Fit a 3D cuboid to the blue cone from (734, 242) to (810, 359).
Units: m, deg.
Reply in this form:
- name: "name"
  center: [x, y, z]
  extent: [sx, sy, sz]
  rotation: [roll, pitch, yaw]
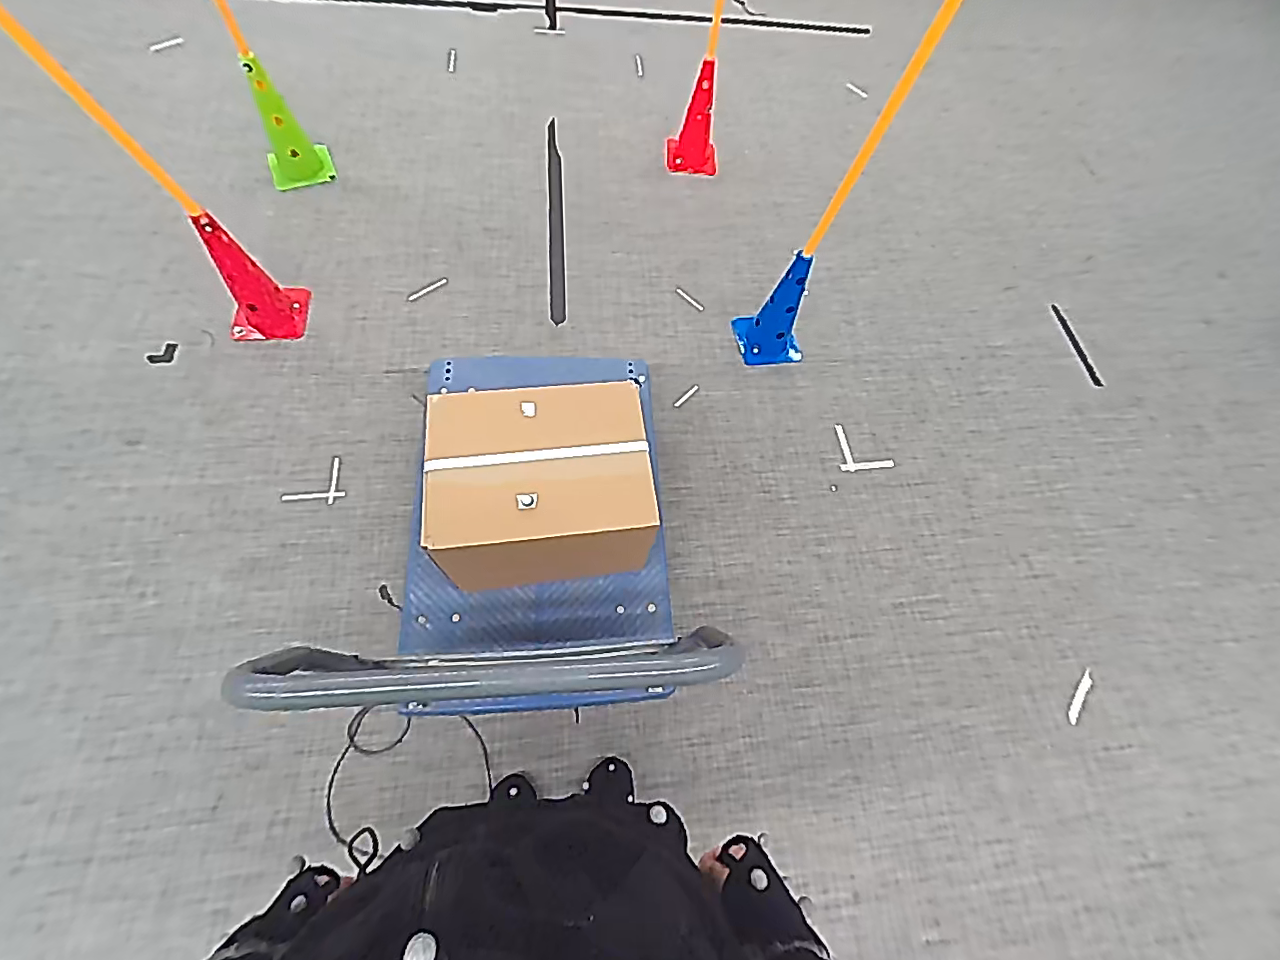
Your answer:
- name: "blue cone"
  center: [0.436, -0.550, 1.647]
  extent: [0.193, 0.380, 0.192]
  rotation: [-6, 65, -10]

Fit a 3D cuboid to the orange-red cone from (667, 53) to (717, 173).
- name: "orange-red cone"
  center: [0.225, -1.367, 1.991]
  extent: [0.199, 0.360, 0.198]
  rotation: [4, 65, -6]
